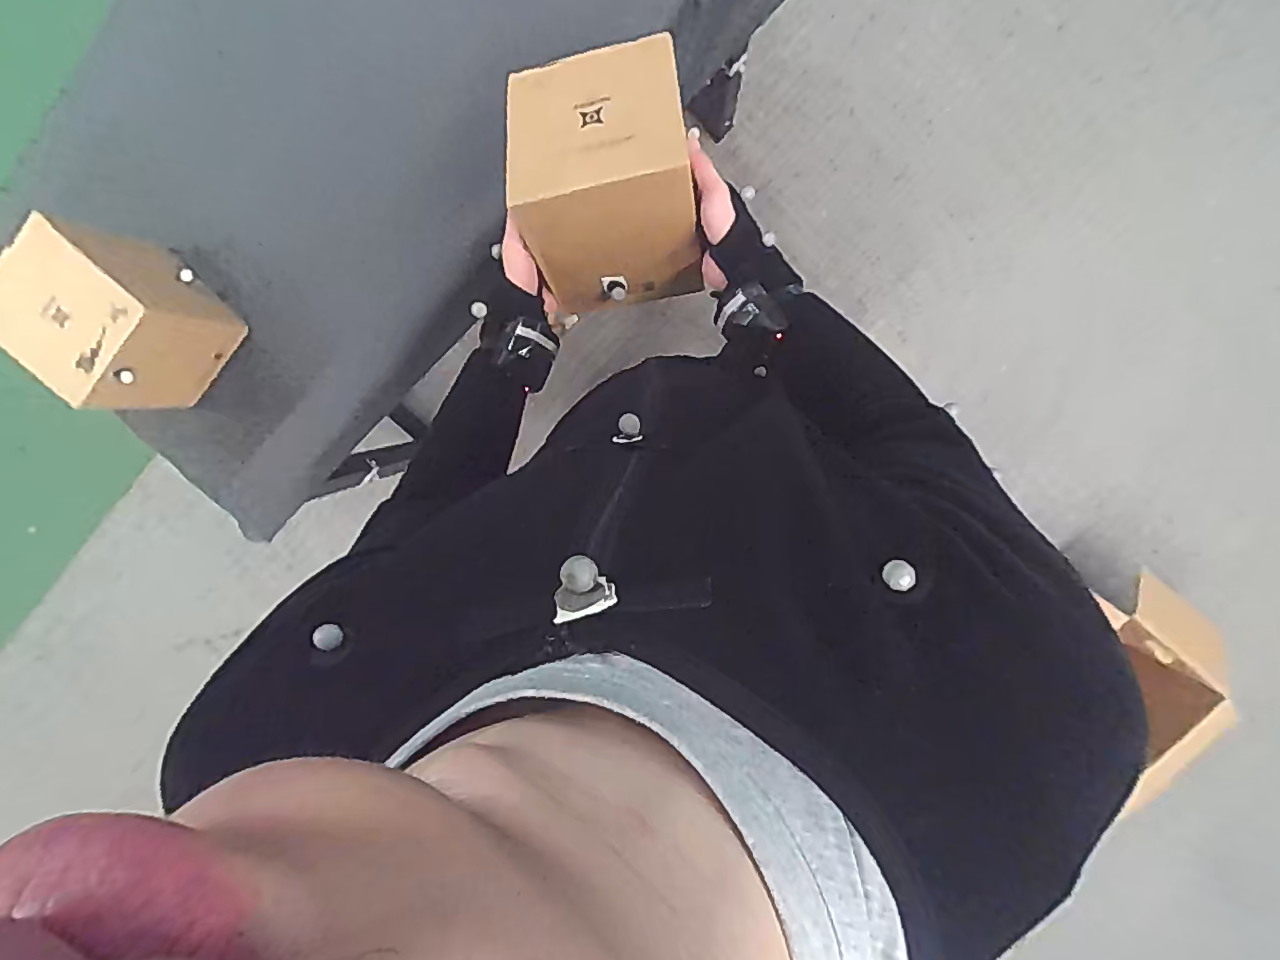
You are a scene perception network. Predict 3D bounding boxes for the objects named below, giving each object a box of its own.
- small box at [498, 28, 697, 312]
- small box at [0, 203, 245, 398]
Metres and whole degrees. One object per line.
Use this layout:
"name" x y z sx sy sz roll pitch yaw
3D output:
"small box" -0.036 -0.308 0.565 0.168 0.176 0.179 -9 70 9
"small box" -0.704 -0.227 0.733 0.179 0.176 0.168 43 101 -4
